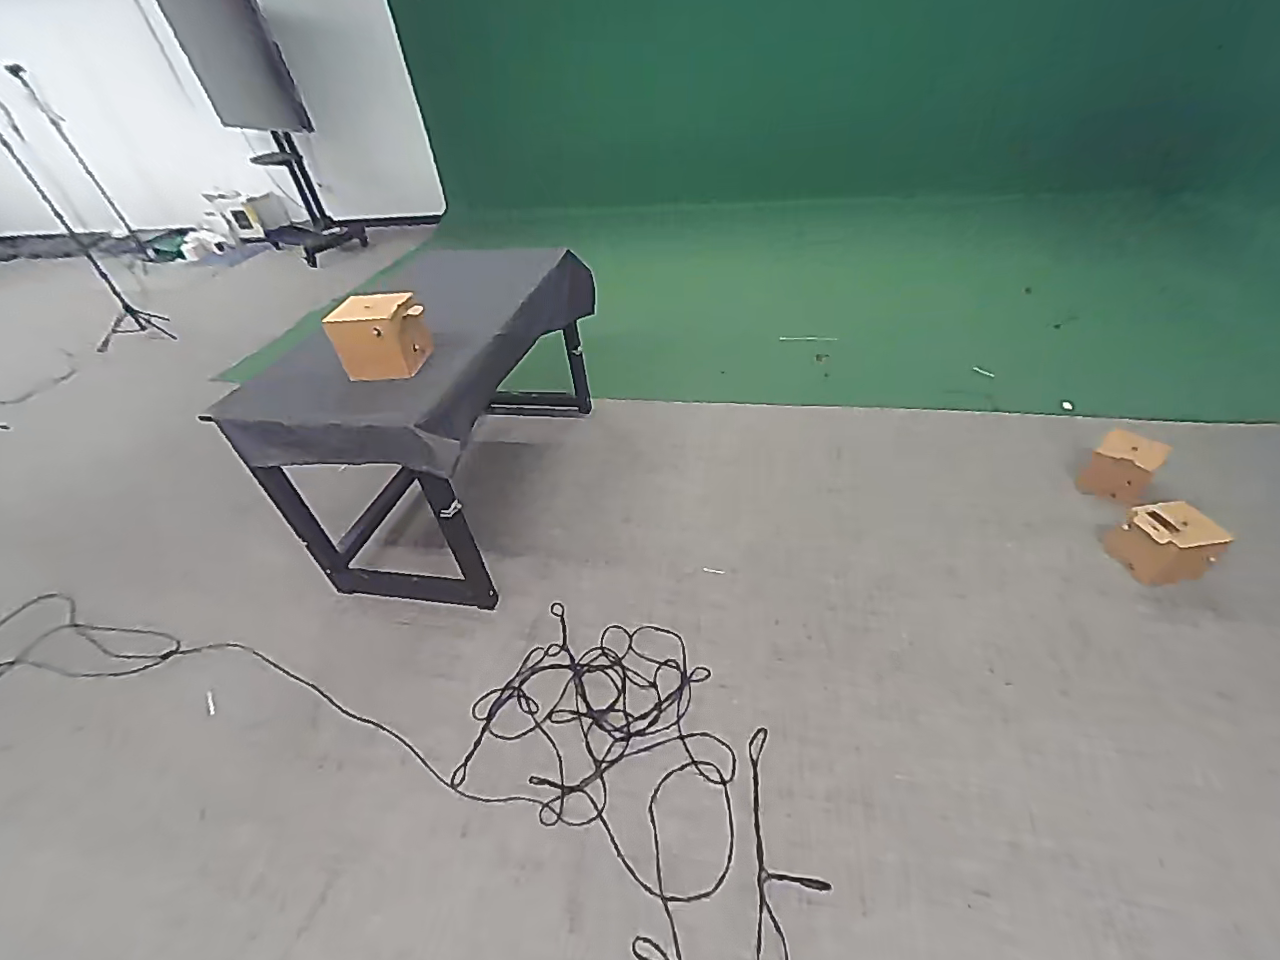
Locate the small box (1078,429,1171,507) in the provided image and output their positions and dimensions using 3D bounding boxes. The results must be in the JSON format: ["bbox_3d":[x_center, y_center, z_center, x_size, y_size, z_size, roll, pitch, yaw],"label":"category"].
[{"bbox_3d":[1.629,-0.039,1.827,0.179,0.176,0.168,-33,47,-29],"label":"small box"}]

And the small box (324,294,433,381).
[{"bbox_3d":[-0.678,-0.372,1.424,0.179,0.176,0.168,-2,40,6],"label":"small box"}]
